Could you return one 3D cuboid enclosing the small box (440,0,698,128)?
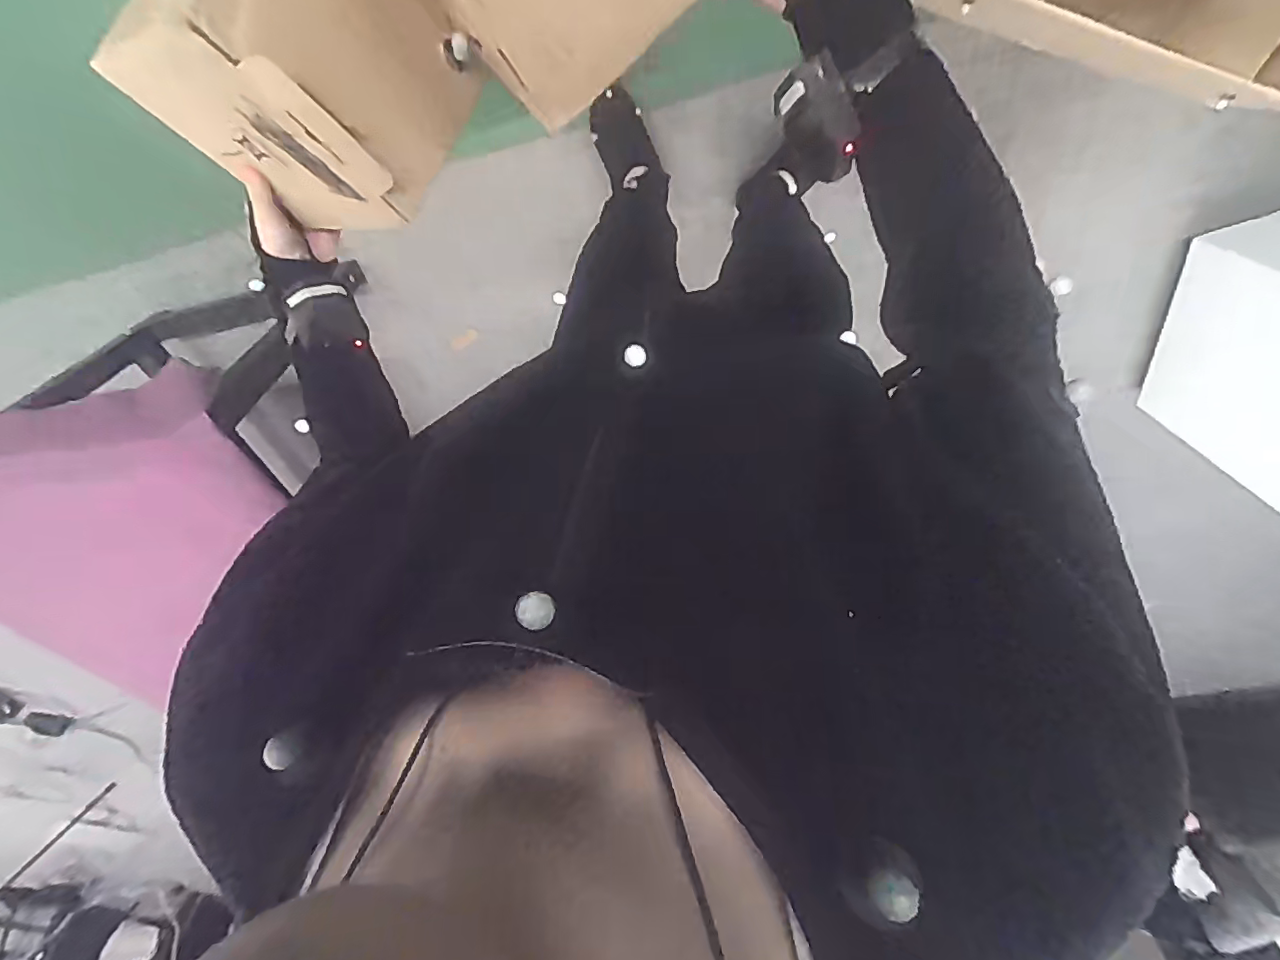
[{"bbox_3d":[-0.064,-0.368,0.320,0.179,0.176,0.168,-39,150,9],"label":"small box"}]
